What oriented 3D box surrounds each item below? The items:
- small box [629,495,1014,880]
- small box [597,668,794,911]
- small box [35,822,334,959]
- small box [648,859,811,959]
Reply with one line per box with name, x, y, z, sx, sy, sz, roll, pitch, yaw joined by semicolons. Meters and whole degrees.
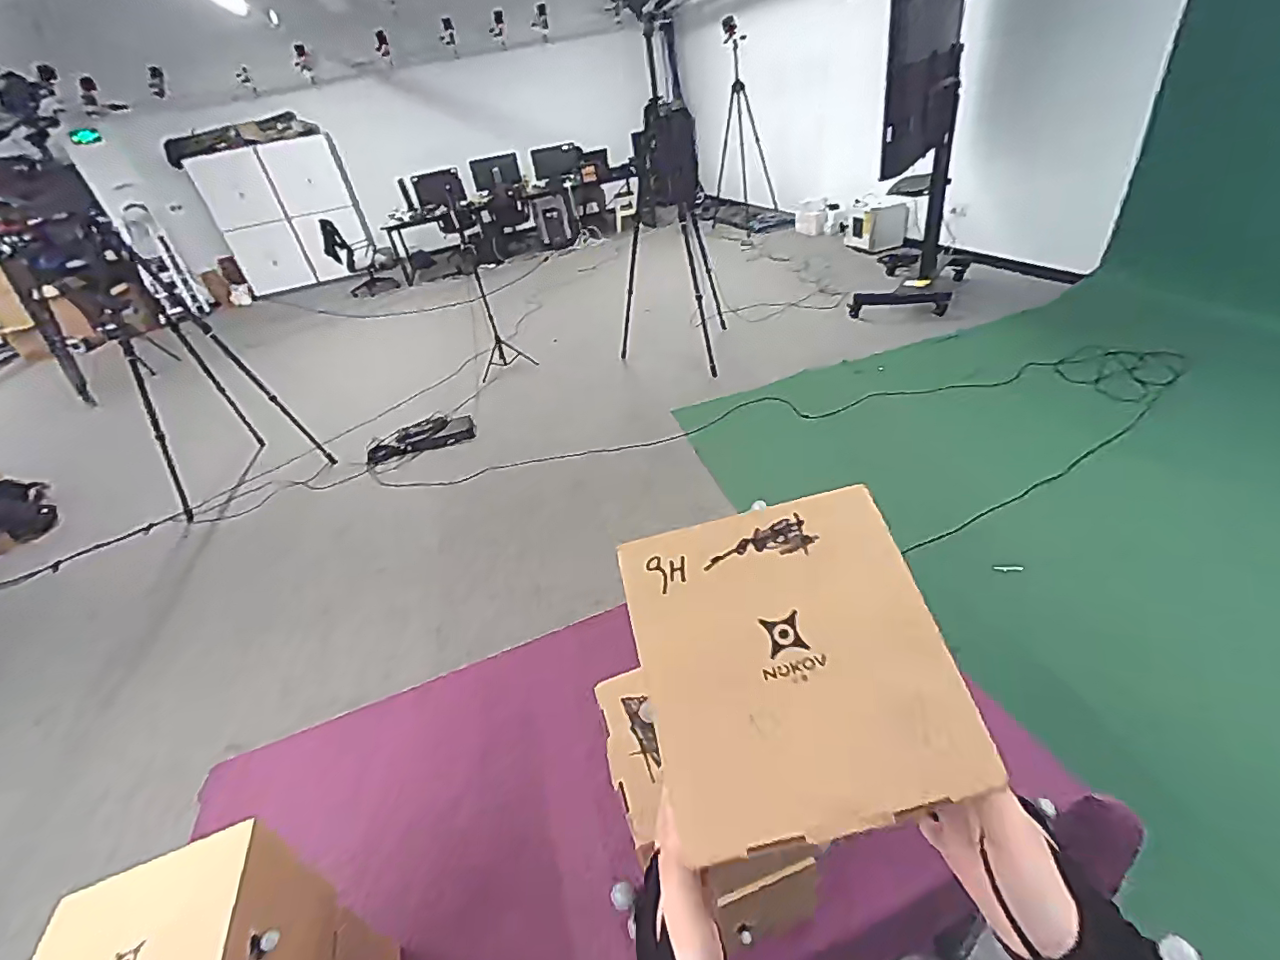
small box;0.096;0.136;0.371;0.168;0.176;0.179;-13;63;0
small box;0.070;0.301;0.562;0.179;0.176;0.168;-16;35;-9
small box;-0.396;0.455;0.475;0.168;0.176;0.179;-19;36;-11
small box;0.089;0.439;0.652;0.168;0.176;0.179;-17;35;-9
